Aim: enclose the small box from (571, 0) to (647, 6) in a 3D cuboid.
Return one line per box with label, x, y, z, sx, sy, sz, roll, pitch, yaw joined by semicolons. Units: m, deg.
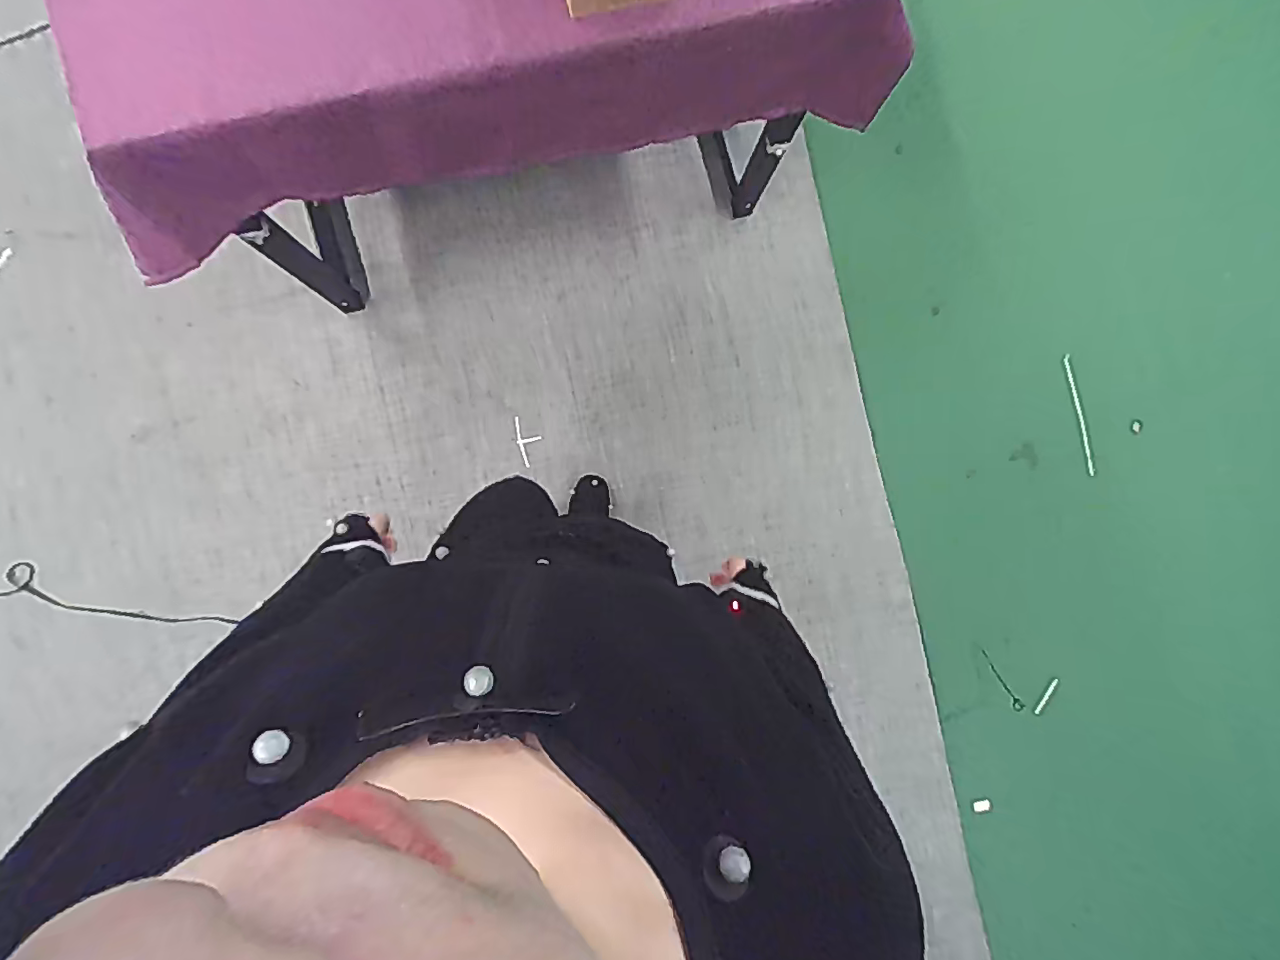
small box;-0.039;-0.786;0.723;0.168;0.176;0.179;-14;90;-6
